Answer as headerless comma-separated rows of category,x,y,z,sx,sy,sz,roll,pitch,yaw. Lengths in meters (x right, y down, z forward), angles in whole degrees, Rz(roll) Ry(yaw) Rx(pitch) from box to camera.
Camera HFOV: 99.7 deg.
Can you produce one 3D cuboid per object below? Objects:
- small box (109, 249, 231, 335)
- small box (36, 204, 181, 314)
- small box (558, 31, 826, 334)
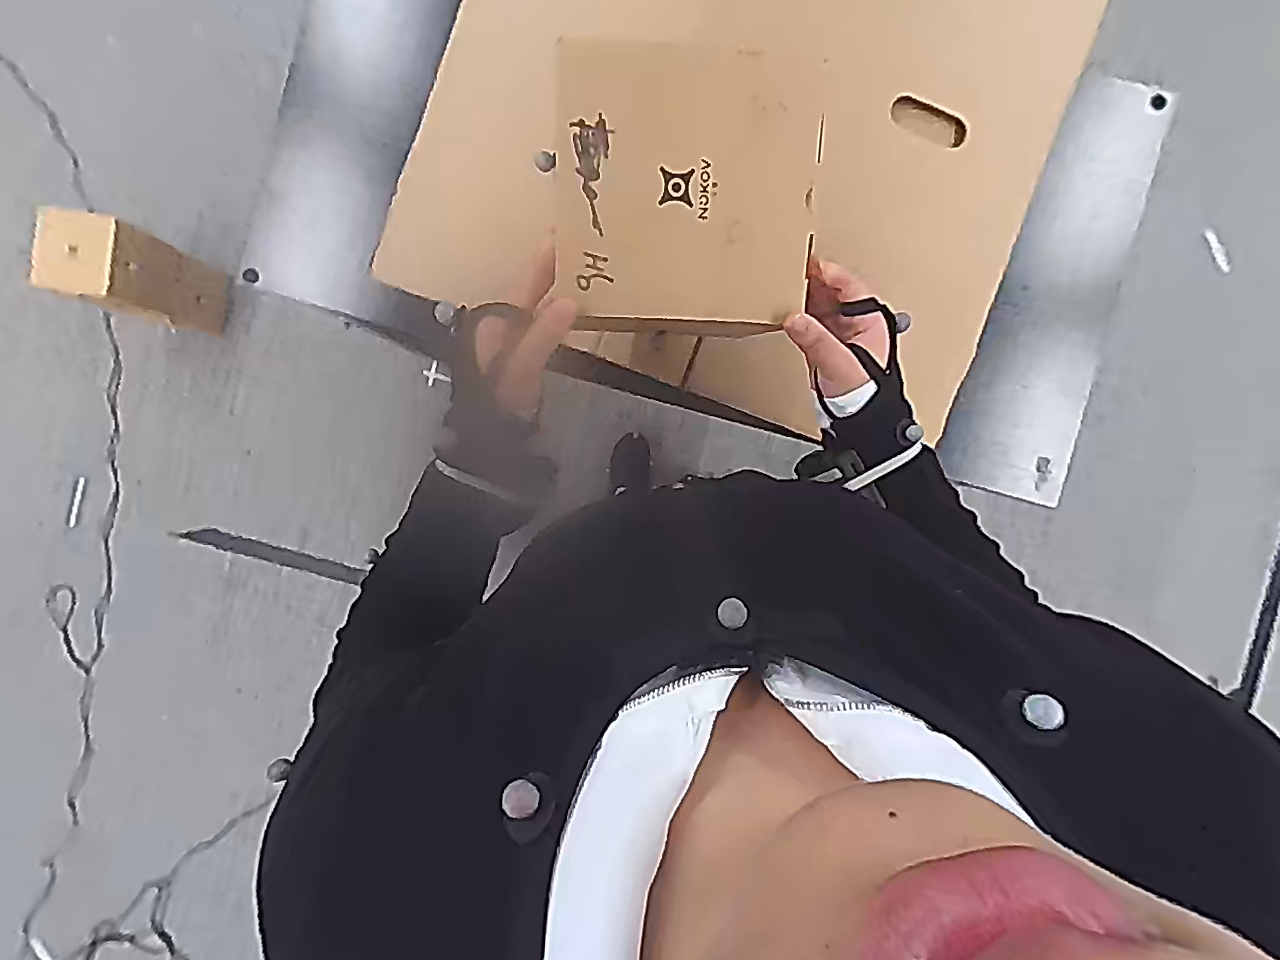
small box,-1.210,-0.496,1.405,0.168,0.176,0.179,11,92,0
small box,-1.209,-0.497,1.242,0.168,0.176,0.179,9,91,-1
small box,0.024,-0.211,0.436,0.179,0.176,0.168,0,101,-7
